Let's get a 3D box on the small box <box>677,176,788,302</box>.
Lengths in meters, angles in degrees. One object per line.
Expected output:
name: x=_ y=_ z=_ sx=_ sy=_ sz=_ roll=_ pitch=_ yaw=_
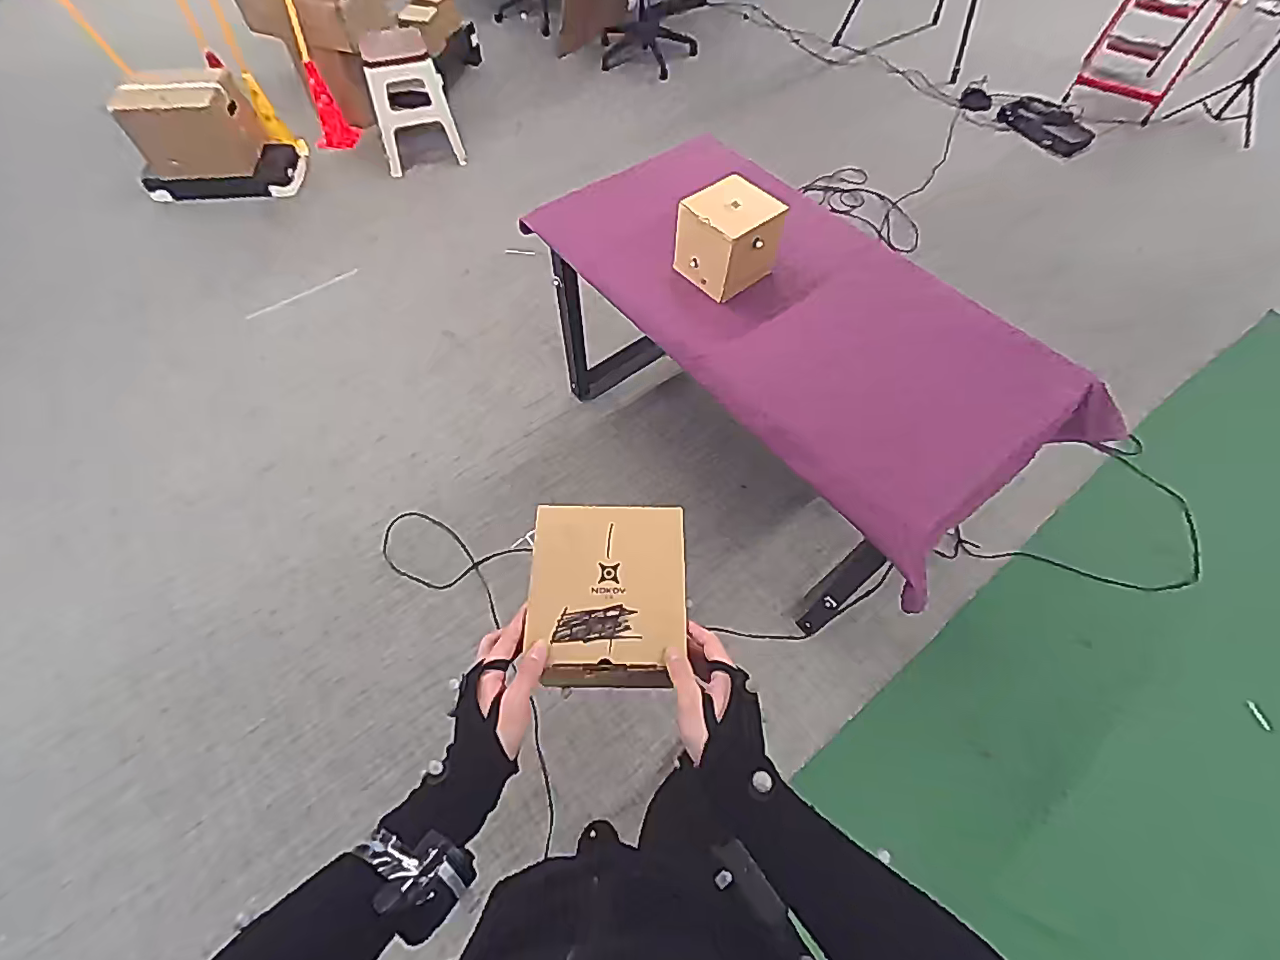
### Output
small box: x=0.200 y=-0.544 z=1.228 sx=0.179 sy=0.176 sz=0.168 roll=-36 pitch=67 yaw=-19

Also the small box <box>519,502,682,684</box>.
small box: x=-0.038 y=0.140 z=0.641 sx=0.168 sy=0.176 sz=0.179 roll=1 pitch=61 yaw=-1
